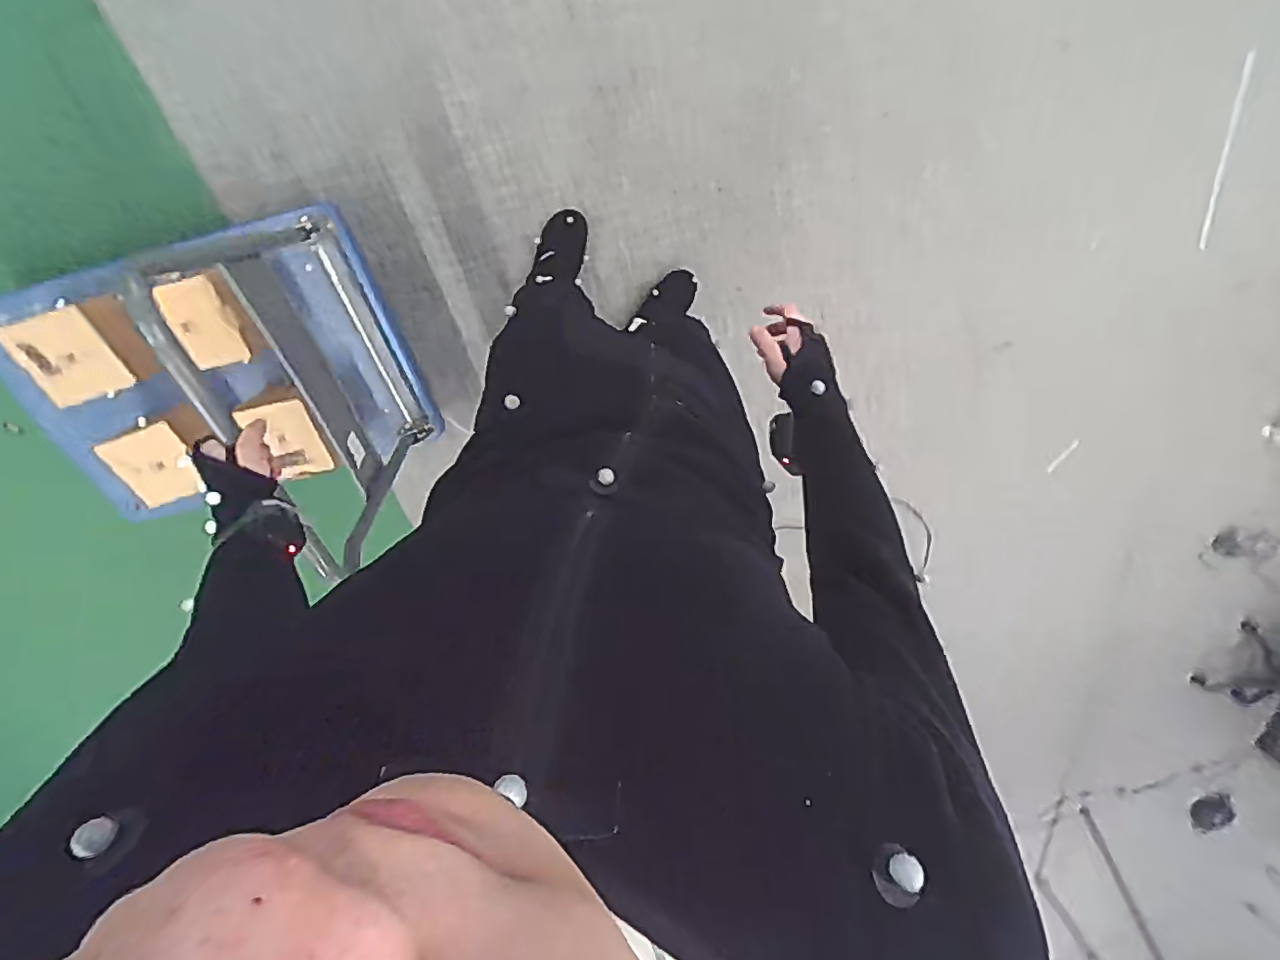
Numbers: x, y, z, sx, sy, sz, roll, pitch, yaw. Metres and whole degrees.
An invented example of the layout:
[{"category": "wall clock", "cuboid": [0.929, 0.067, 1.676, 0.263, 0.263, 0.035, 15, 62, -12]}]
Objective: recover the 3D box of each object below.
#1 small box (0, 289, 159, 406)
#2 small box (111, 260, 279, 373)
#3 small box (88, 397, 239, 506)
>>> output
[{"category": "small box", "cuboid": [-1.145, -0.280, 1.121, 0.179, 0.176, 0.168, -17, 122, 1]}, {"category": "small box", "cuboid": [-0.904, -0.343, 1.121, 0.179, 0.176, 0.168, -15, 121, 0]}, {"category": "small box", "cuboid": [-1.082, -0.072, 1.254, 0.179, 0.176, 0.168, -19, 121, 3]}]
